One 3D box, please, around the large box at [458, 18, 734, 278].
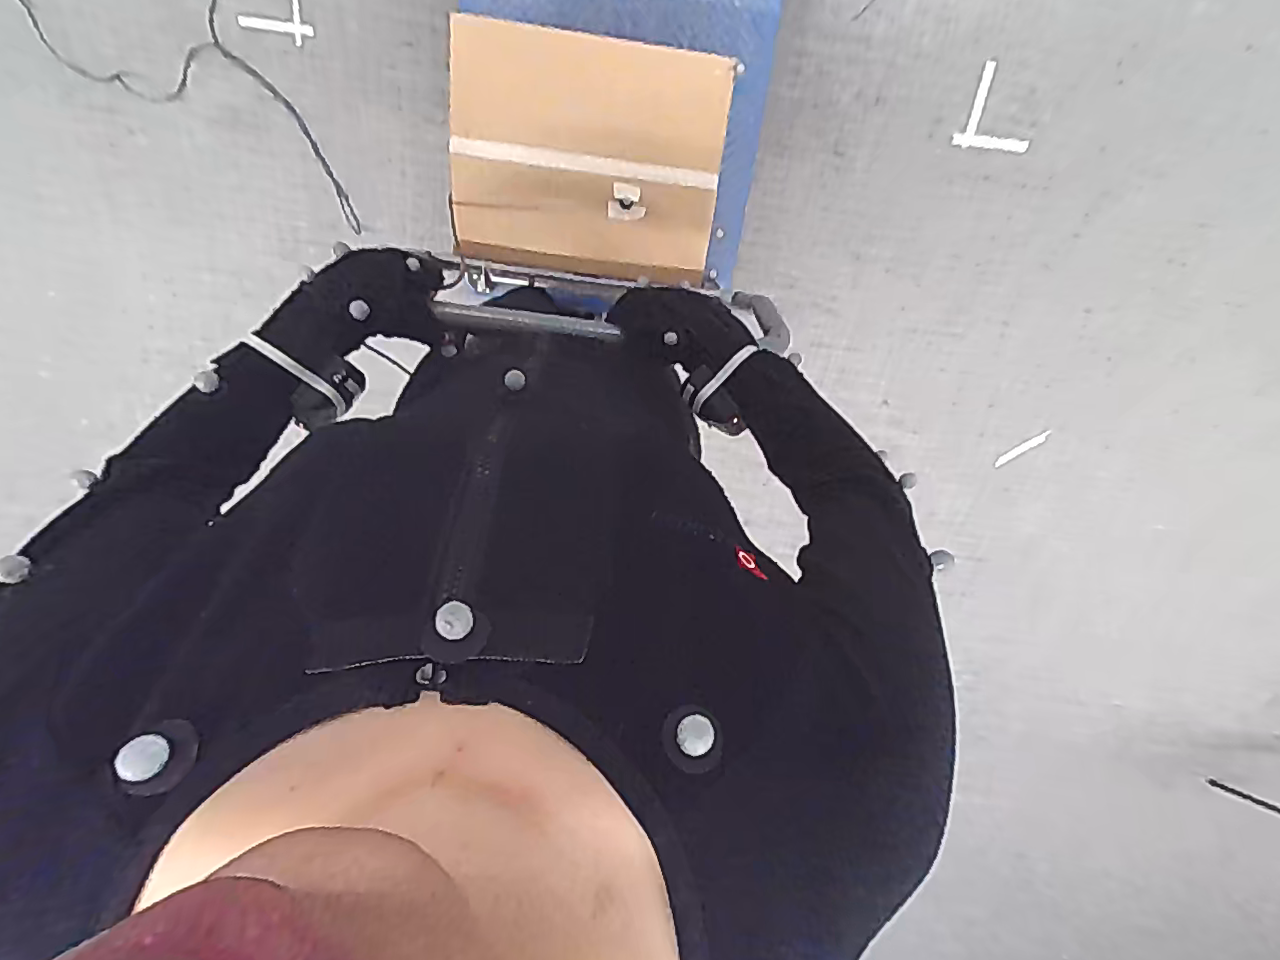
[{"bbox_3d":[-0.082,-0.552,0.968,0.408,0.320,0.320,6,114,-4],"label":"large box"}]
